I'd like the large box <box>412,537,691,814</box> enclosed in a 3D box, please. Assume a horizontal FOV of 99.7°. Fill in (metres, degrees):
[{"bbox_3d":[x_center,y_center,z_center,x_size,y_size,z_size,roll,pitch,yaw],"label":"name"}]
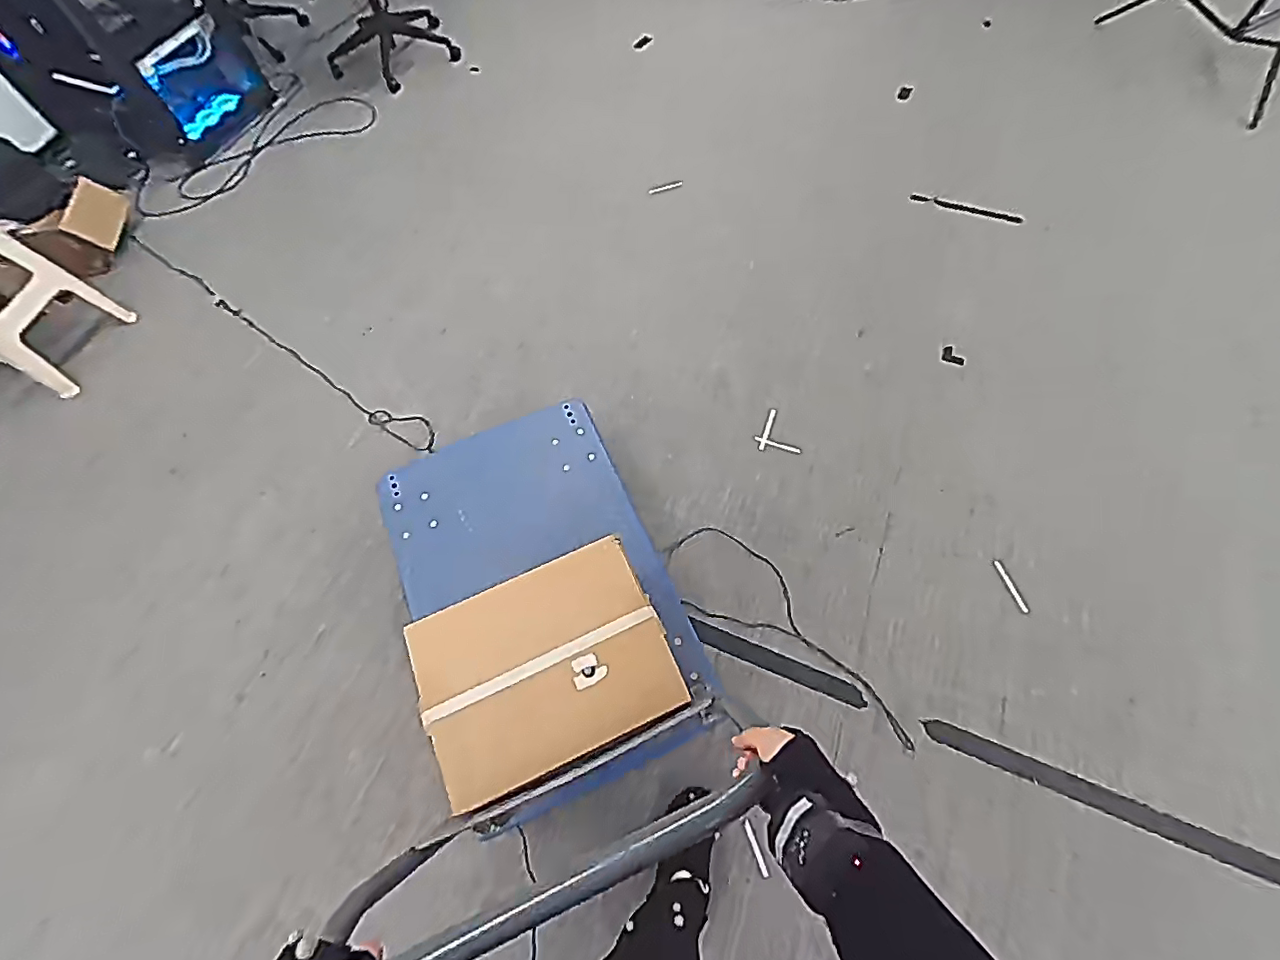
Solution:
[{"bbox_3d":[-0.152,0.370,1.047,0.408,0.320,0.320,-24,68,-8],"label":"large box"}]
